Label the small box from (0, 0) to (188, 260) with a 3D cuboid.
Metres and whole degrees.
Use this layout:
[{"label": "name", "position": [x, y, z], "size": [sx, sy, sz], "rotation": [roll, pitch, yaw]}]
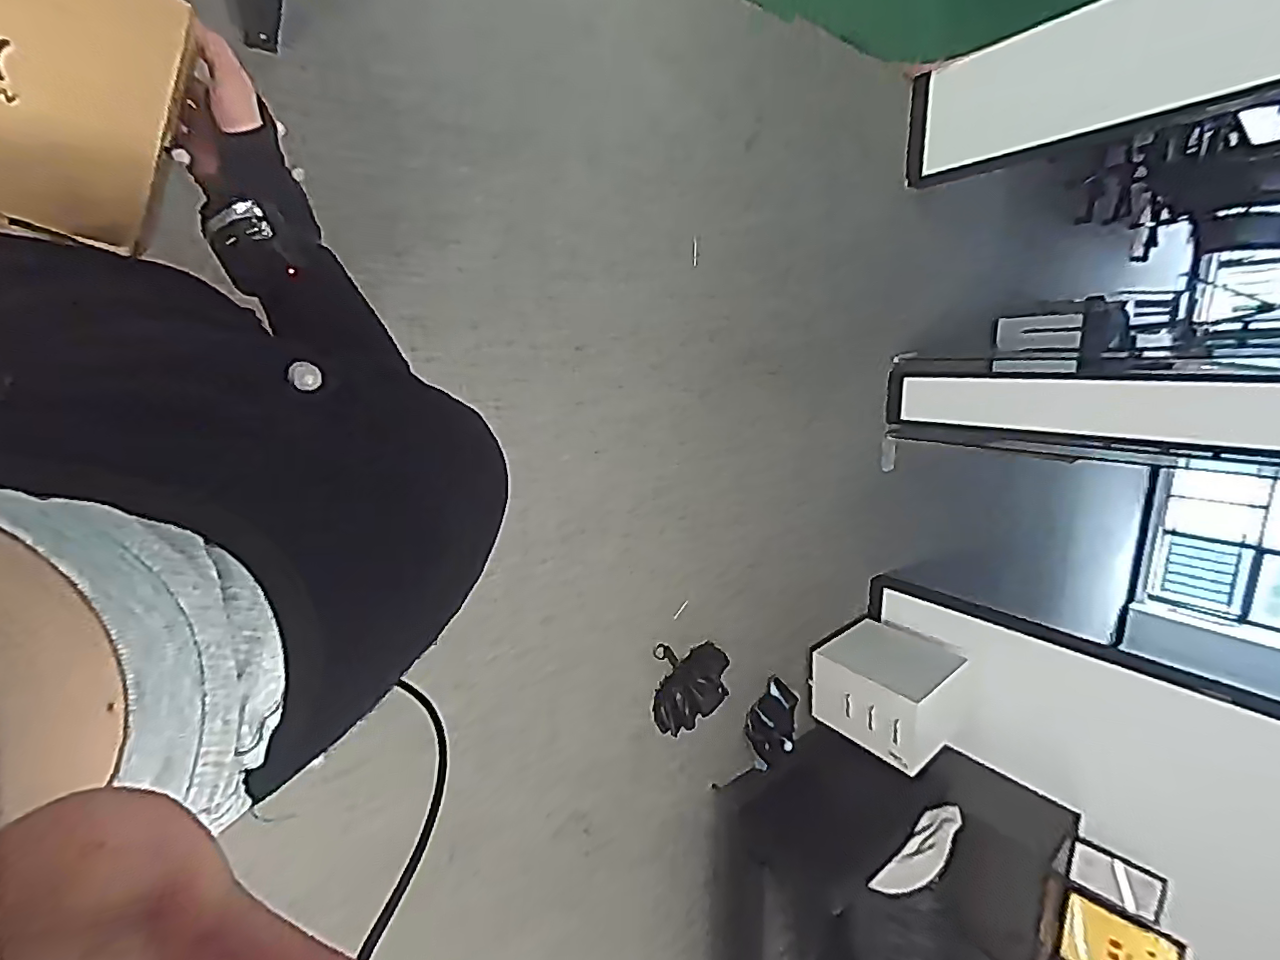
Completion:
[{"label": "small box", "position": [-0.436, -0.280, 0.376], "size": [0.168, 0.176, 0.179], "rotation": [12, 105, -43]}]
